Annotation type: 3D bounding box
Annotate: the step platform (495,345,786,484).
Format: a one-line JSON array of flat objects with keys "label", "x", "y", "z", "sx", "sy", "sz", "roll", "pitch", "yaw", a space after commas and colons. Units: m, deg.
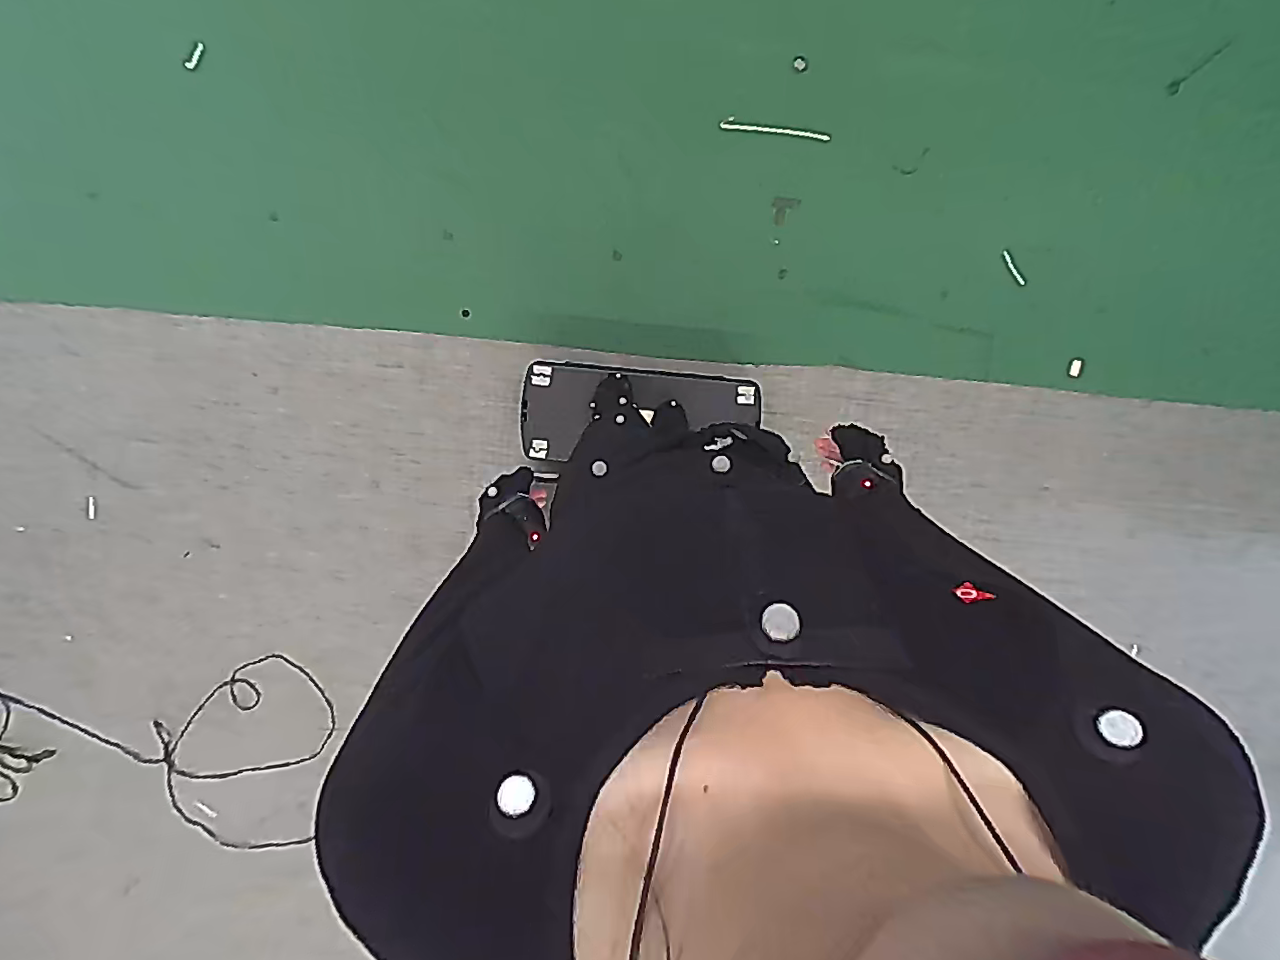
[{"label": "step platform", "x": 0.000, "y": -0.164, "z": 1.358, "sx": 0.684, "sy": 0.204, "sz": 0.286, "roll": 4, "pitch": 100, "yaw": -1}]
